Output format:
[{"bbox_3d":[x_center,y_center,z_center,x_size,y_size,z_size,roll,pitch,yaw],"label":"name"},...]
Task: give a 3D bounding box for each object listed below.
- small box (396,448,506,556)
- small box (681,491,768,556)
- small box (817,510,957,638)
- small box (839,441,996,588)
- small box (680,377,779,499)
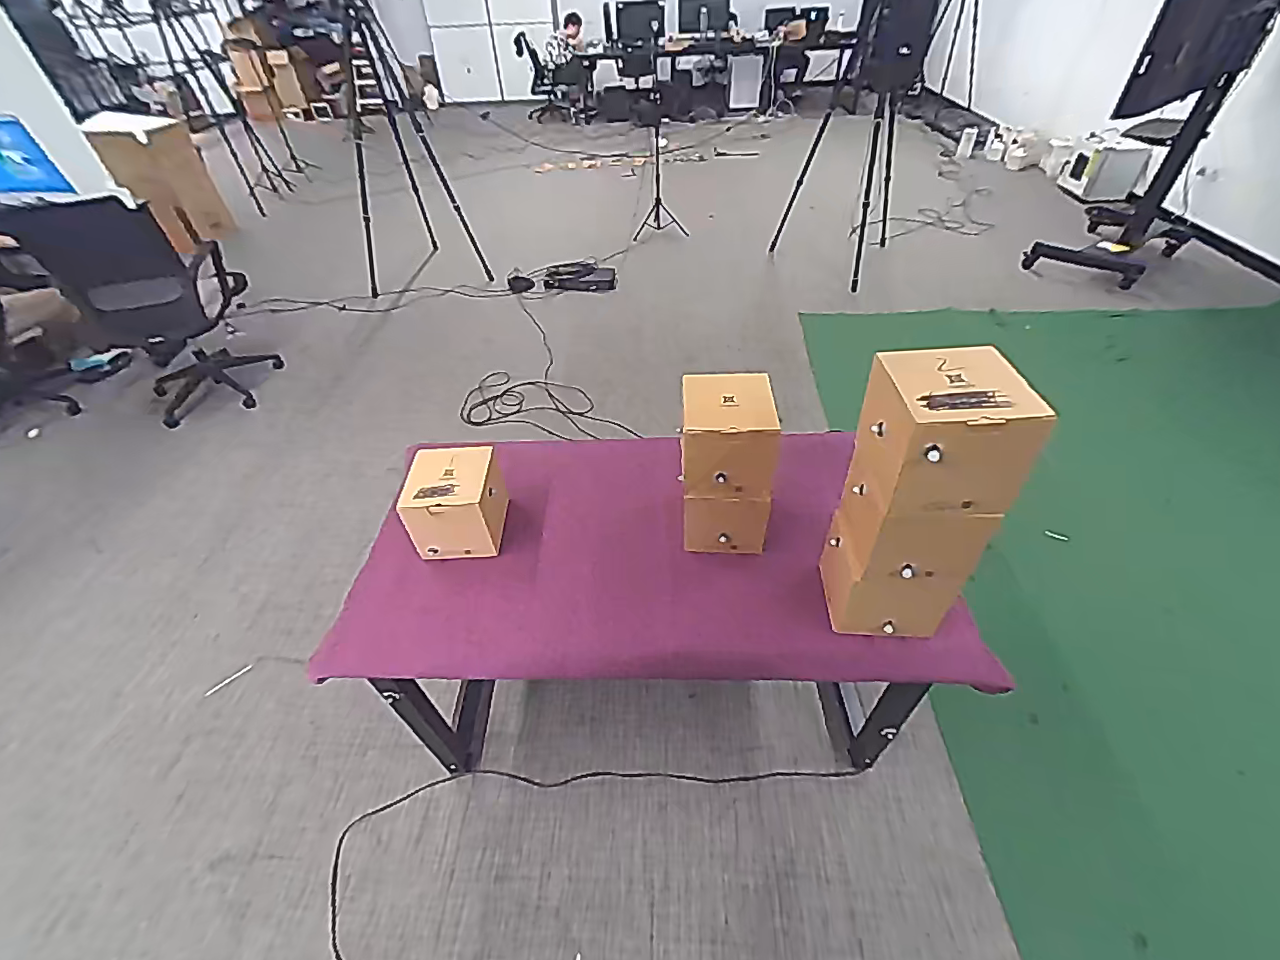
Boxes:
[{"bbox_3d":[-0.394,0.051,1.166,0.168,0.176,0.179,-2,43,-1],"label":"small box"},{"bbox_3d":[0.175,0.039,1.152,0.168,0.176,0.179,2,45,5],"label":"small box"},{"bbox_3d":[0.441,0.175,0.997,0.179,0.176,0.168,2,43,5],"label":"small box"},{"bbox_3d":[0.436,0.055,0.887,0.168,0.176,0.179,0,43,6],"label":"small box"},{"bbox_3d":[0.162,-0.081,1.043,0.168,0.176,0.179,0,45,2],"label":"small box"}]
